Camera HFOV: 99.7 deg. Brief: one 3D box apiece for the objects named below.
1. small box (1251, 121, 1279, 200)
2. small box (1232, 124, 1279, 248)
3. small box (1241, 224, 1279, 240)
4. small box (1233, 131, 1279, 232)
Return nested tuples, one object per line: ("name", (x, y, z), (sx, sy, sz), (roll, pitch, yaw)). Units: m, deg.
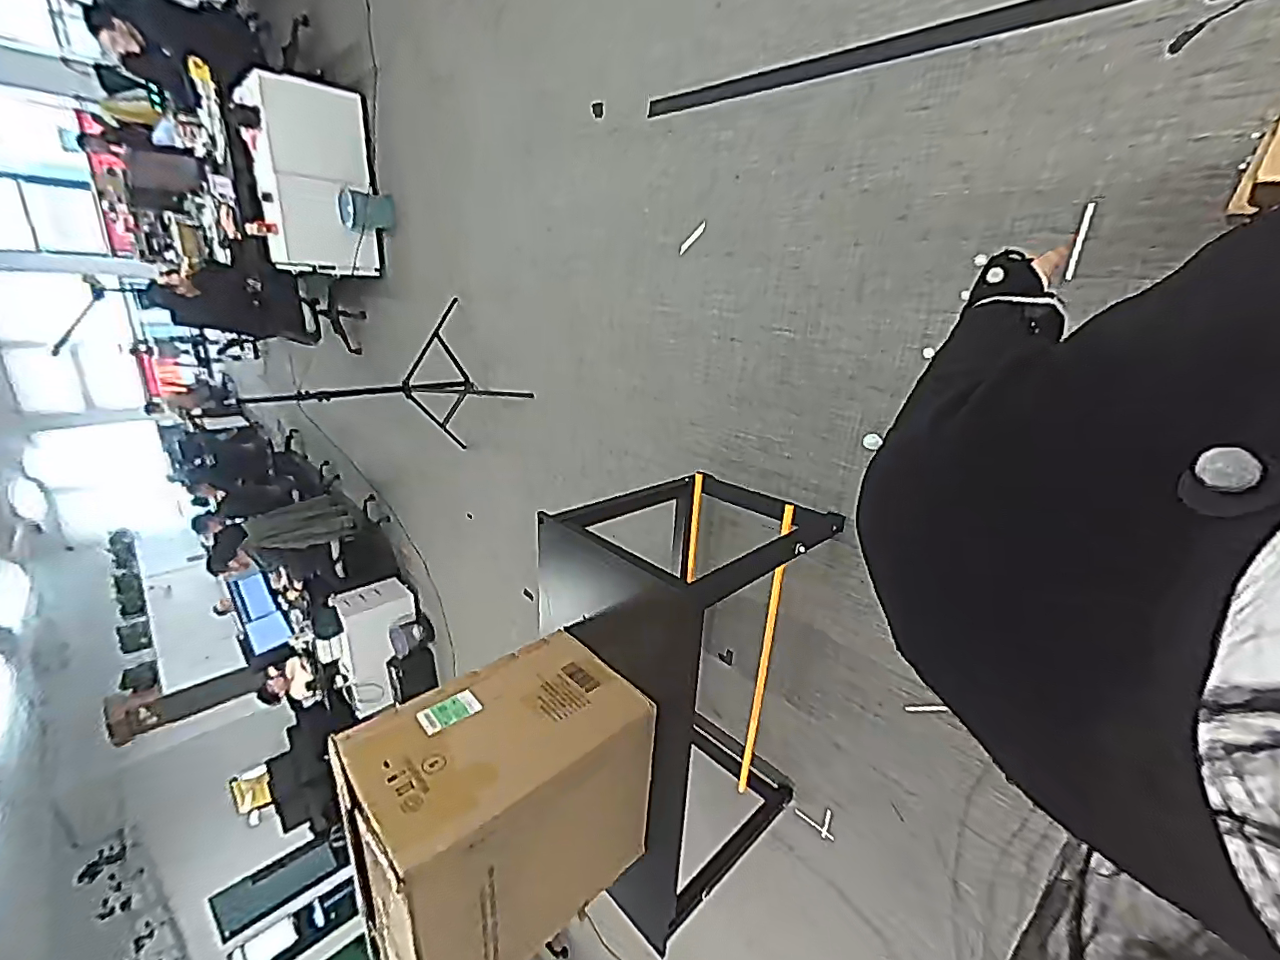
("small box", (0.742, -0.369, 0.514), (0.168, 0.176, 0.179), (26, 120, 41))
("small box", (1.085, -0.465, 0.853), (0.179, 0.176, 0.168), (18, 115, 43))
("small box", (0.971, -0.431, 0.740), (0.168, 0.176, 0.179), (23, 118, 42))
("small box", (0.853, -0.391, 0.635), (0.168, 0.176, 0.179), (29, 123, 39))
